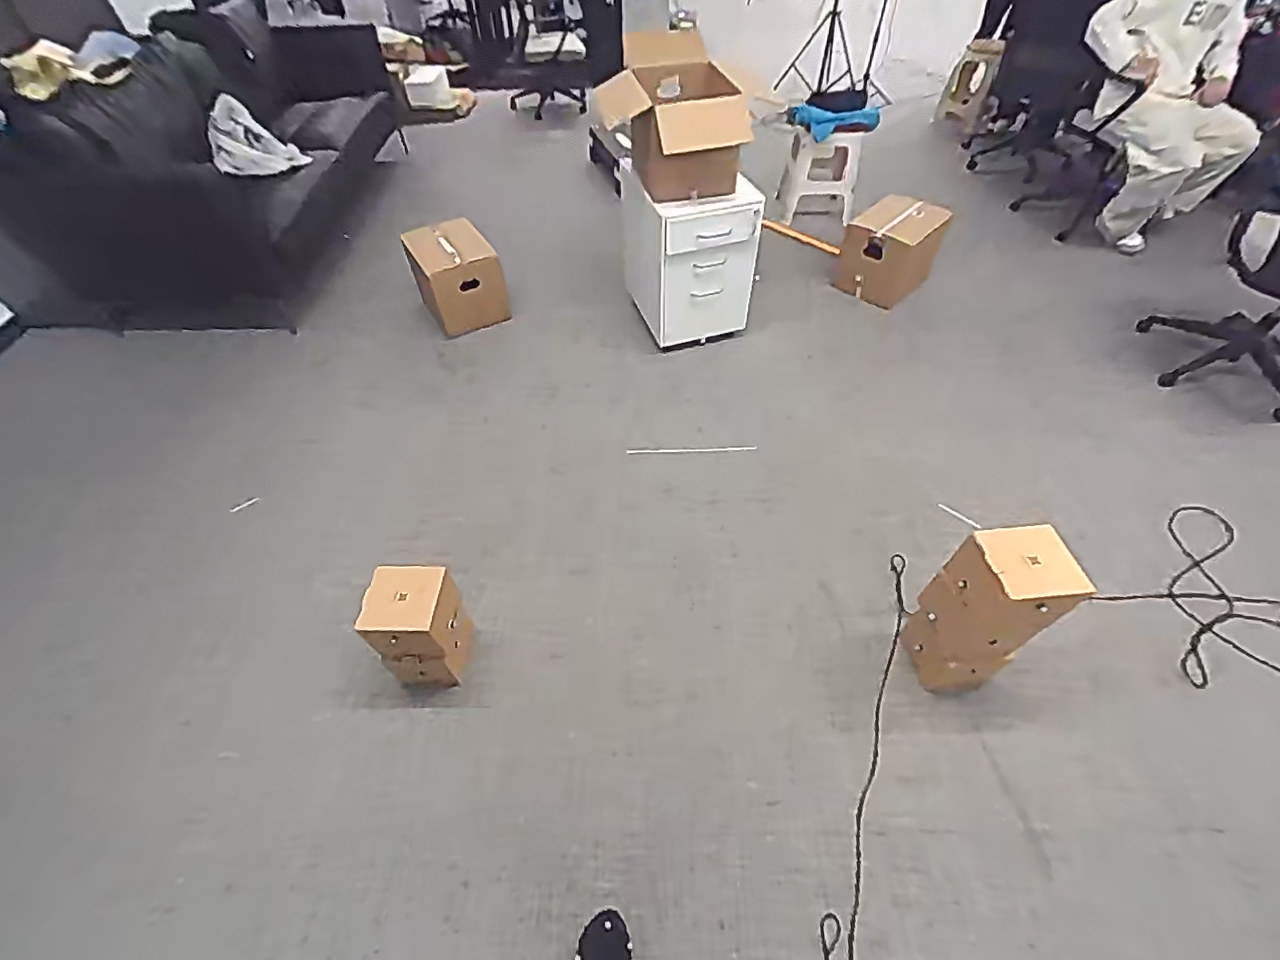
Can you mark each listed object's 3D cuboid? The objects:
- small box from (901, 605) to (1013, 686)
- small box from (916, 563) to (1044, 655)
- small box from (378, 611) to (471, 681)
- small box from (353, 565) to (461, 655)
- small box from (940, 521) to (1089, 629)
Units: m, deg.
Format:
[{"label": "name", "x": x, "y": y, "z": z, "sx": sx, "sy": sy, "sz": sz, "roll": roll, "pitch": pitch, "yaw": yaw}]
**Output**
[{"label": "small box", "x": 0.813, "y": 0.424, "z": 1.415, "sx": 0.179, "sy": 0.176, "sz": 0.168, "roll": -7, "pitch": 51, "yaw": -4}, {"label": "small box", "x": 0.803, "y": 0.307, "z": 1.300, "sx": 0.179, "sy": 0.176, "sz": 0.168, "roll": -5, "pitch": 50, "yaw": -1}, {"label": "small box", "x": -0.570, "y": 0.433, "z": 1.457, "sx": 0.168, "sy": 0.176, "sz": 0.179, "roll": 0, "pitch": 51, "yaw": 1}, {"label": "small box", "x": -0.564, "y": 0.324, "z": 1.336, "sx": 0.179, "sy": 0.176, "sz": 0.168, "roll": 0, "pitch": 52, "yaw": 1}, {"label": "small box", "x": 0.795, "y": 0.208, "z": 1.171, "sx": 0.179, "sy": 0.176, "sz": 0.168, "roll": -6, "pitch": 50, "yaw": -2}]
